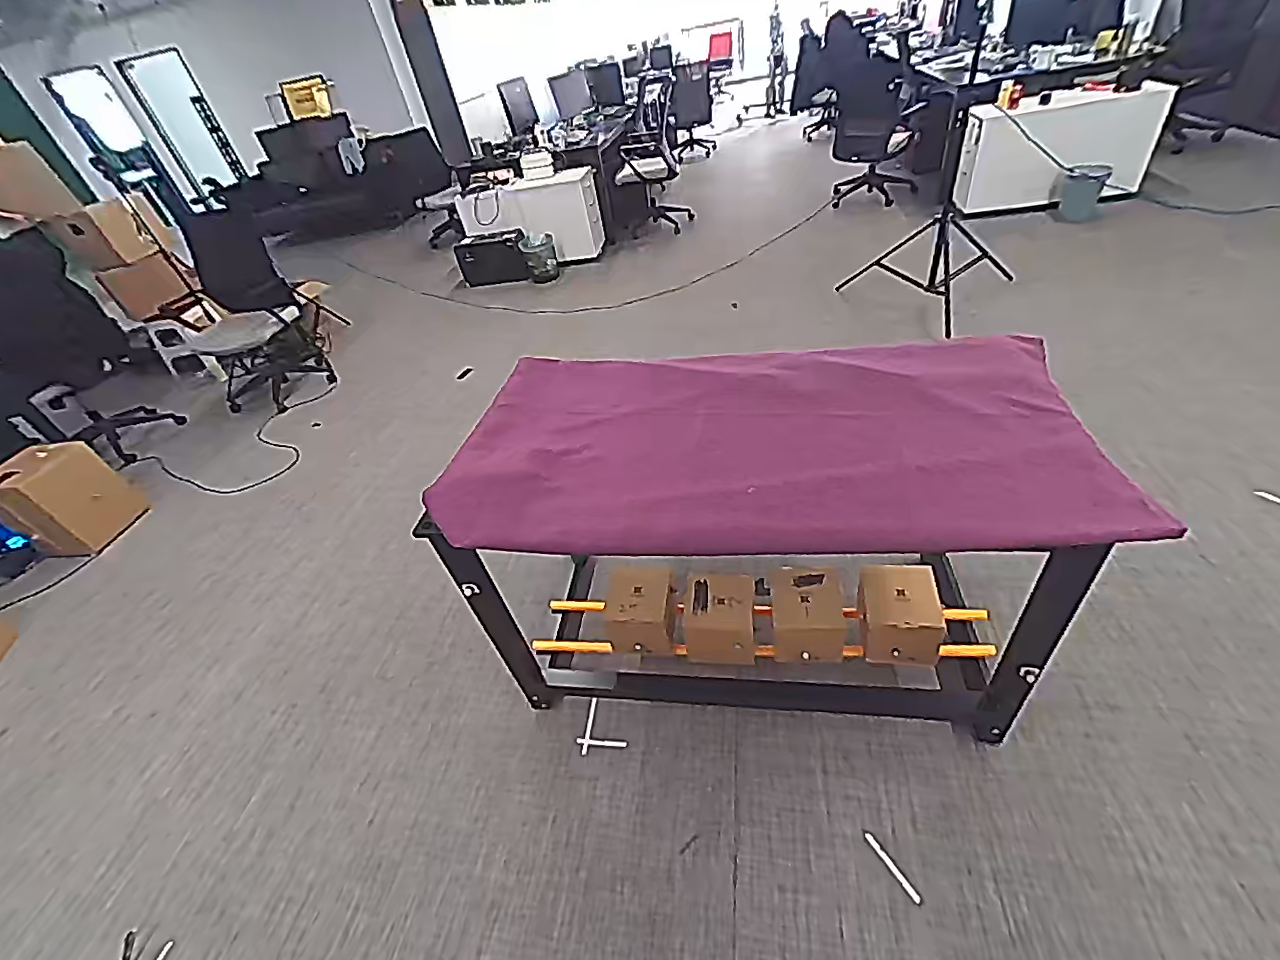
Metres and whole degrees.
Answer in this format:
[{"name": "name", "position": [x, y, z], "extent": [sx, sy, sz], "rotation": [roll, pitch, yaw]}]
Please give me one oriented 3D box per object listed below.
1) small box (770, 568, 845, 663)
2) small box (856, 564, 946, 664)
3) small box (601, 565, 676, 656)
[{"name": "small box", "position": [0.420, 0.344, 1.382], "extent": [0.168, 0.176, 0.179], "rotation": [-3, 44, 12]}, {"name": "small box", "position": [0.635, 0.330, 1.338], "extent": [0.168, 0.176, 0.179], "rotation": [-2, 43, 15]}, {"name": "small box", "position": [0.003, 0.354, 1.475], "extent": [0.168, 0.176, 0.179], "rotation": [-2, 43, 13]}]
